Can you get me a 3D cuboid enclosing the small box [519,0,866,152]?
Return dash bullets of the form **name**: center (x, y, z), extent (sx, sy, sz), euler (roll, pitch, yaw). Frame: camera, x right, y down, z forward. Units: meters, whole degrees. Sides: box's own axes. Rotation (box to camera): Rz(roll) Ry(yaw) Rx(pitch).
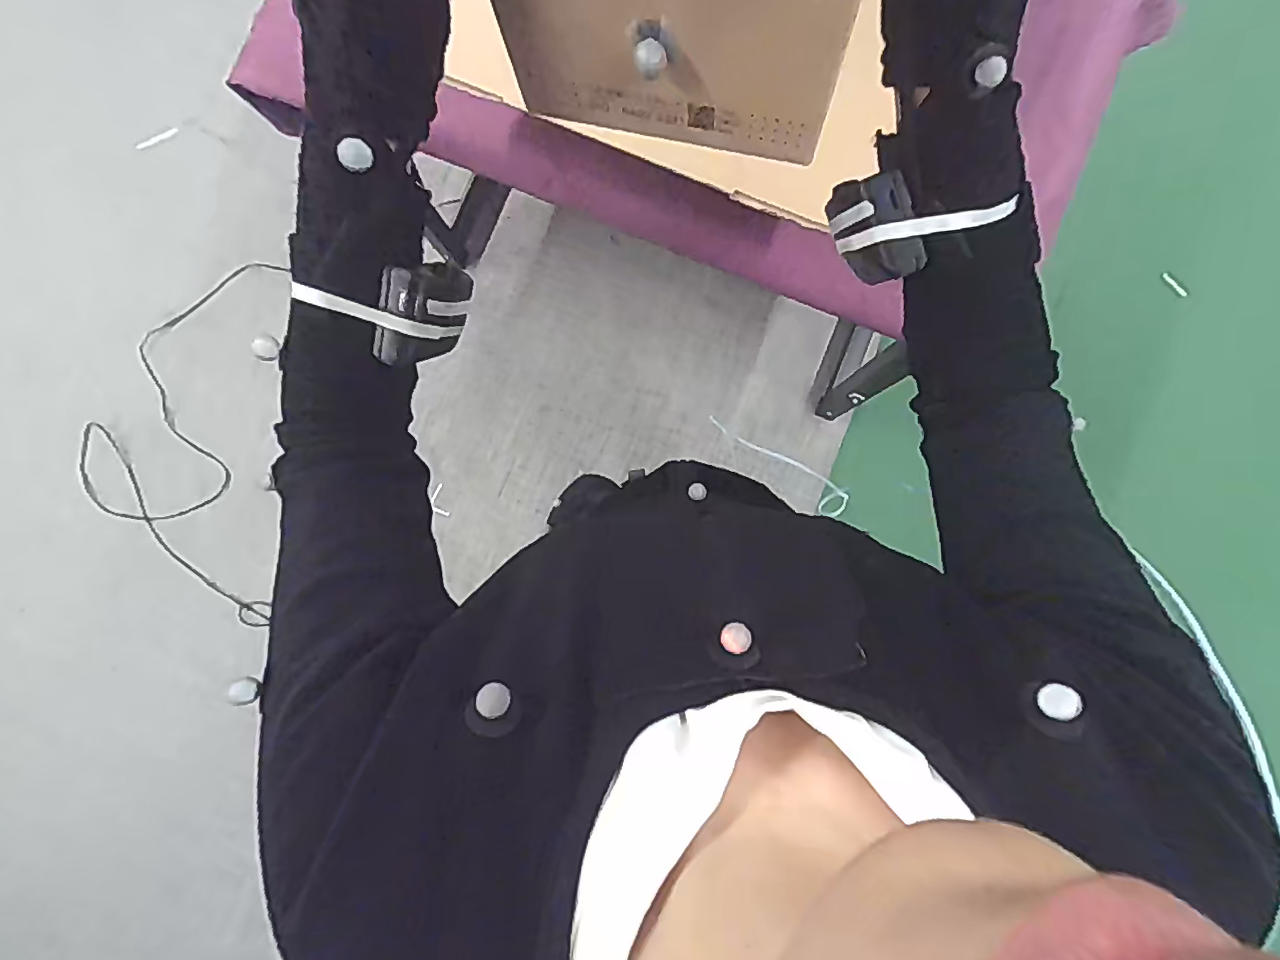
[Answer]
- **small box**: center (0.035, -0.290, 0.231), extent (0.168, 0.176, 0.179), euler (16, 82, 7)
